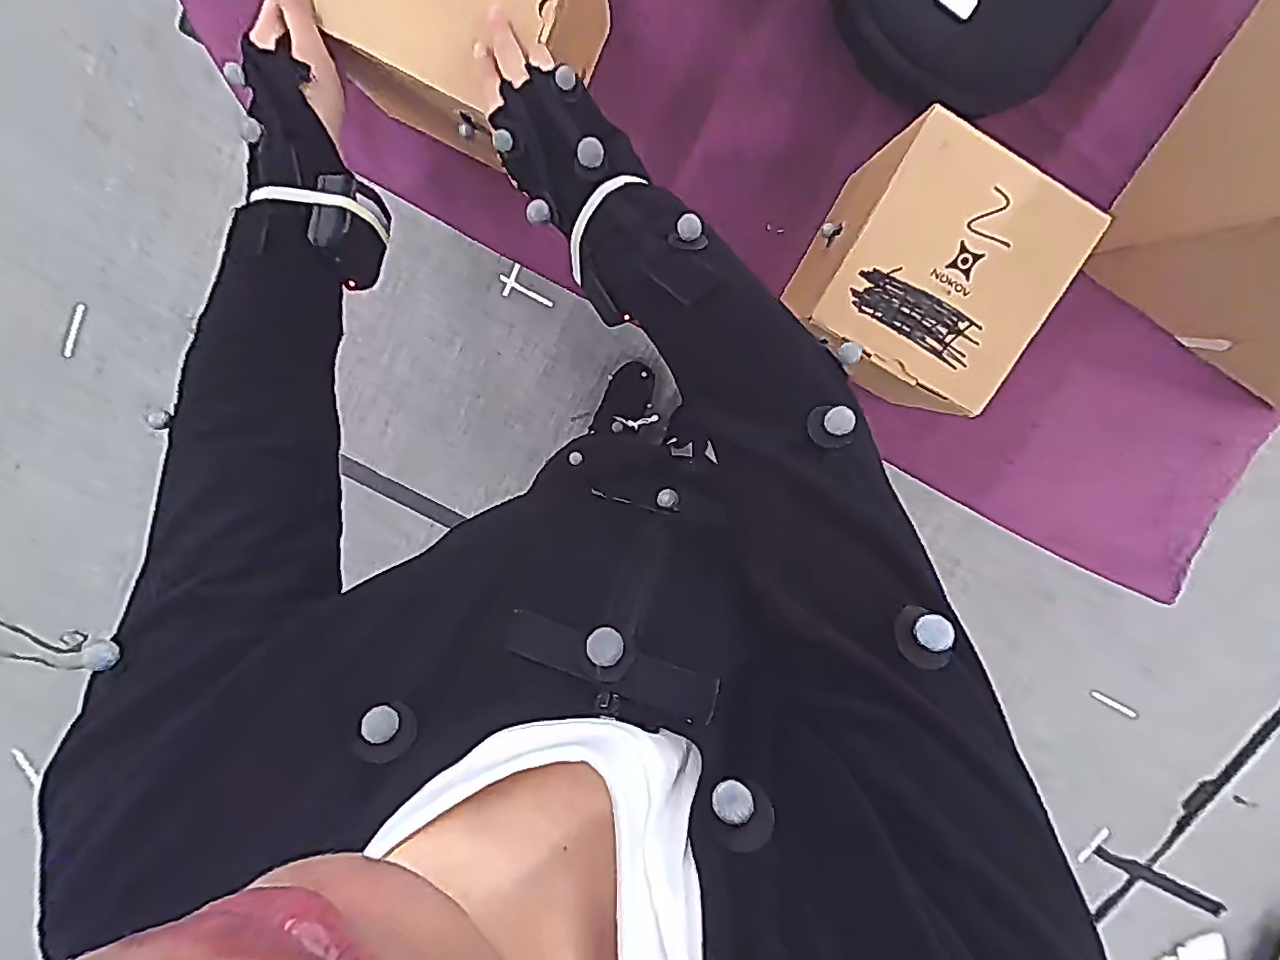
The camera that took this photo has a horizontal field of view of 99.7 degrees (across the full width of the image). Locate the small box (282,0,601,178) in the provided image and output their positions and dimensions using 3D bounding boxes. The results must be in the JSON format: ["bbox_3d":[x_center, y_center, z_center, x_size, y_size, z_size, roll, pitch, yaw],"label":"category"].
[{"bbox_3d":[-0.144,-0.387,0.452,0.179,0.176,0.168,23,101,-7],"label":"small box"}]
